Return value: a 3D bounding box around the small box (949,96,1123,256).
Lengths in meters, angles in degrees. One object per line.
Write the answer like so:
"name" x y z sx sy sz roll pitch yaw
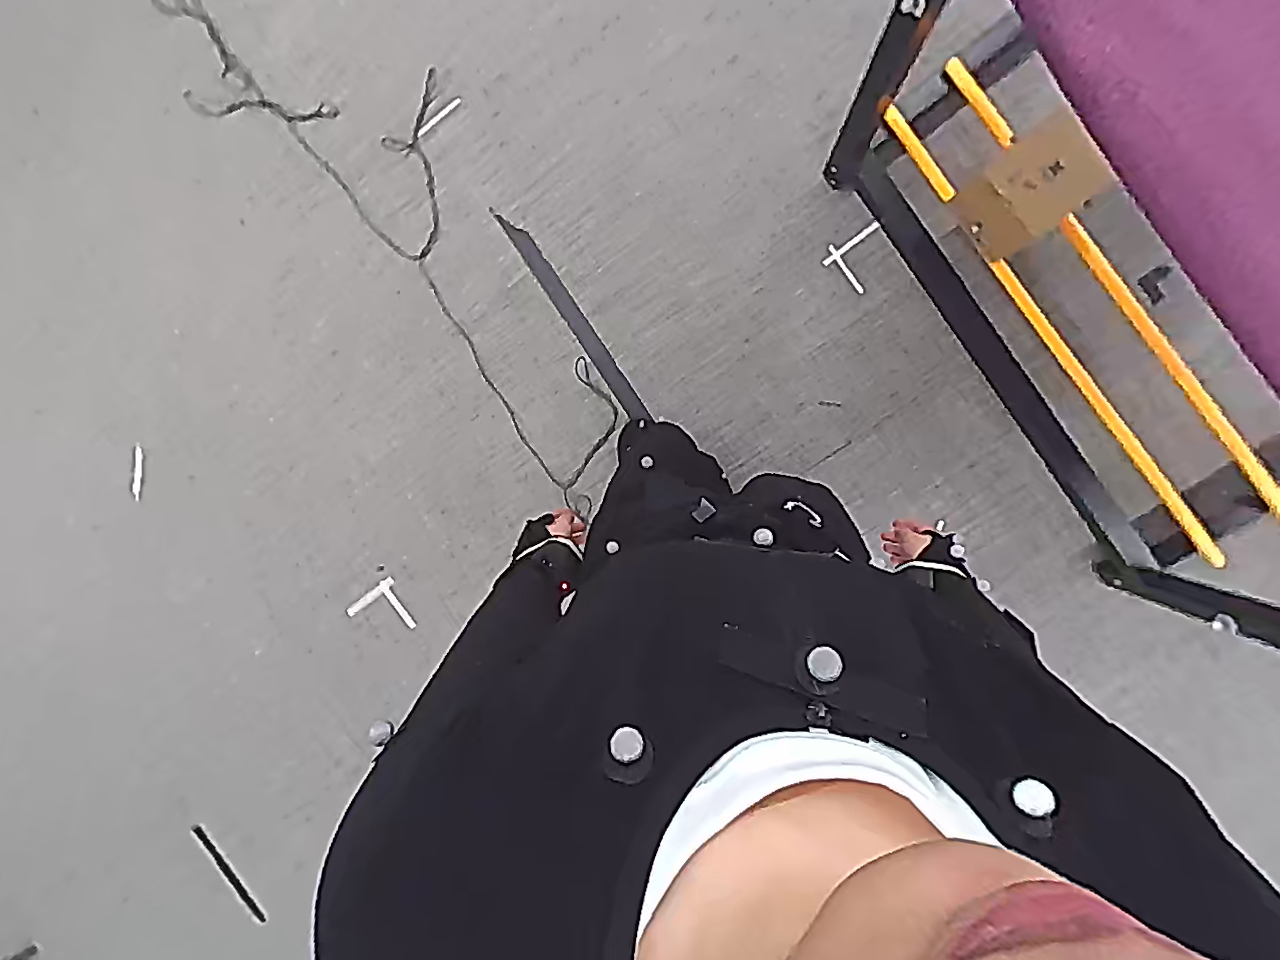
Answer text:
"small box" 0.746 -0.570 1.042 0.179 0.176 0.168 -38 90 11
